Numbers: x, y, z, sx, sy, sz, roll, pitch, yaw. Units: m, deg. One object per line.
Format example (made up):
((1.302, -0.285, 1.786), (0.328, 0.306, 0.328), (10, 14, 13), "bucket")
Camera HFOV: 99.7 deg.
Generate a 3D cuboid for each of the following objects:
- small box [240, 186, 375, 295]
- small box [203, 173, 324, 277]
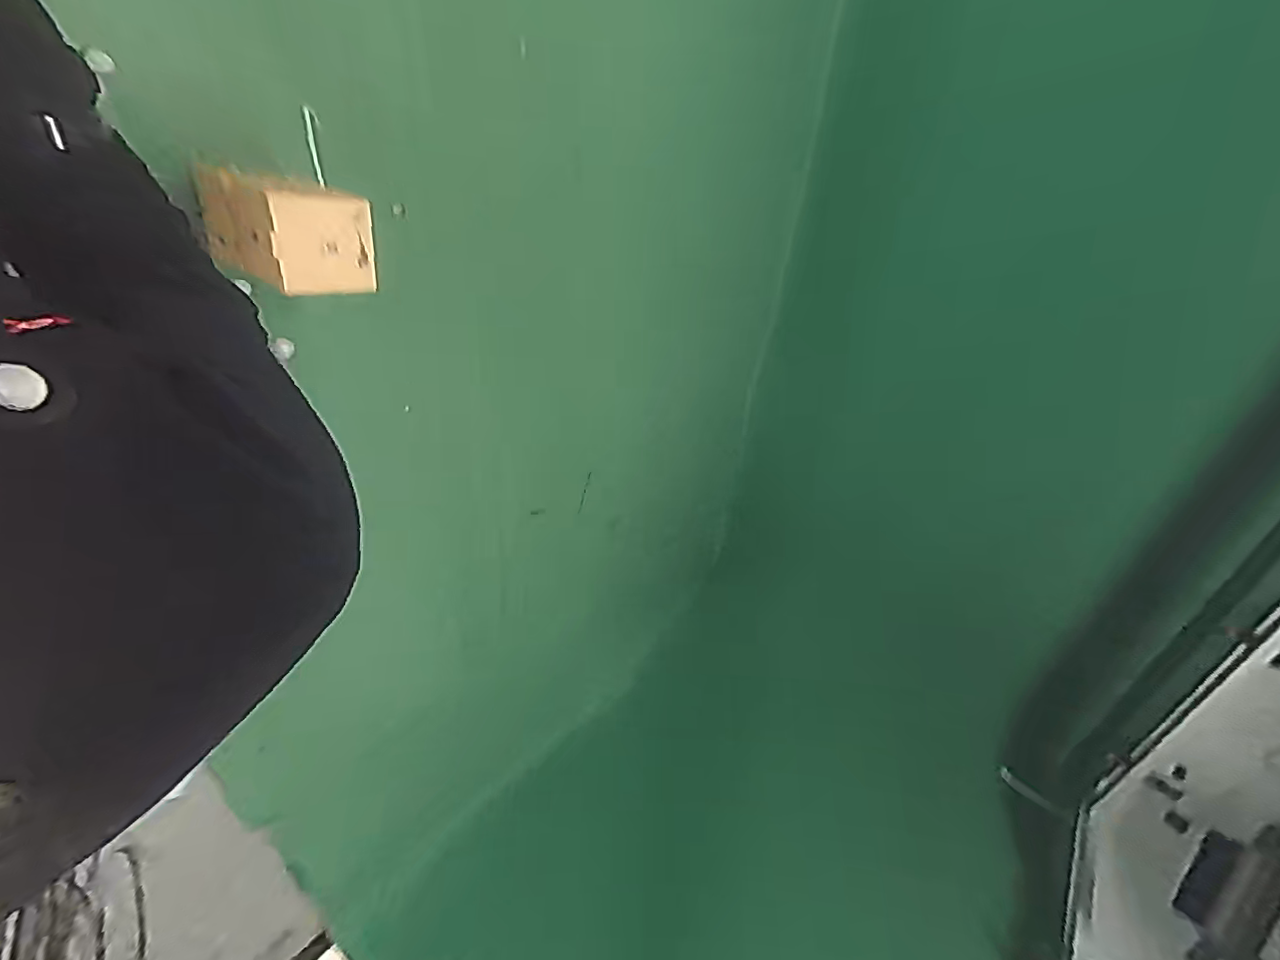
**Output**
((-0.642, -0.460, 1.042), (0.179, 0.176, 0.168), (-23, 133, -46), "small box")
((-0.758, -0.518, 1.107), (0.179, 0.176, 0.168), (-24, 135, -47), "small box")
